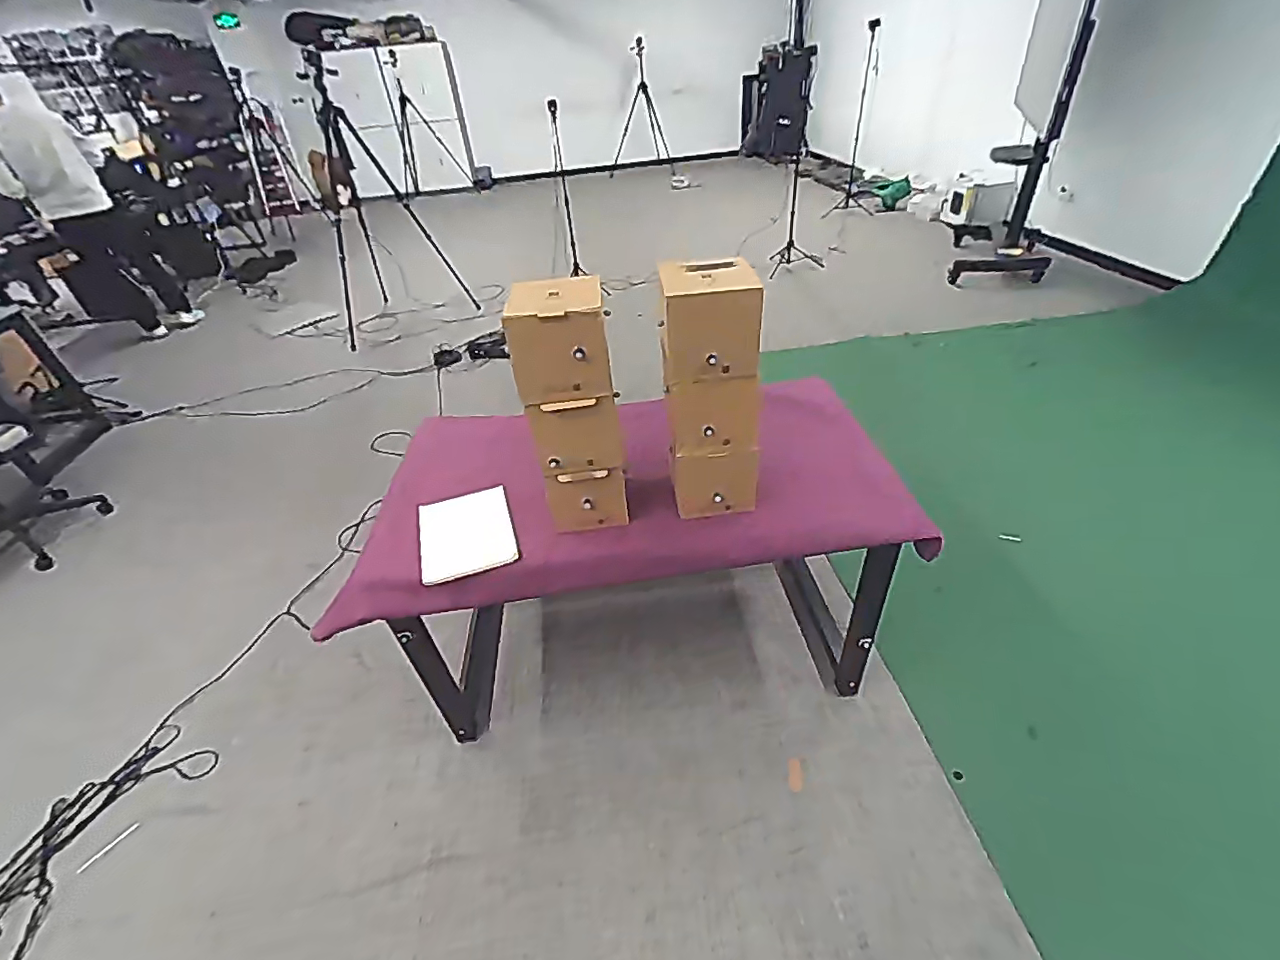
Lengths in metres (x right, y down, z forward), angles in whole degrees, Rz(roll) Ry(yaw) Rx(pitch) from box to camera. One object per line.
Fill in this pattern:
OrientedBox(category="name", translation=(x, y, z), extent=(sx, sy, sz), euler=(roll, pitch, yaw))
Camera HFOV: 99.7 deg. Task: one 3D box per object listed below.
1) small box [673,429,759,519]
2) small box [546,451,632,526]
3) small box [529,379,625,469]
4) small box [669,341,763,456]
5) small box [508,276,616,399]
OrientedBox(category="small box", translation=(0.164, -0.036, 1.210), extent=(0.168, 0.176, 0.179), euler=(-7, 37, 1))
OrientedBox(category="small box", translation=(-0.110, -0.009, 1.212), extent=(0.168, 0.176, 0.179), euler=(-6, 39, -1))
OrientedBox(category="small box", translation=(-0.122, -0.134, 1.105), extent=(0.168, 0.176, 0.179), euler=(-6, 37, 0))
OrientedBox(category="small box", translation=(0.149, -0.169, 1.116), extent=(0.168, 0.176, 0.179), euler=(-6, 38, 0))
OrientedBox(category="small box", translation=(-0.134, -0.259, 1.001), extent=(0.168, 0.176, 0.179), euler=(-5, 38, 0))
